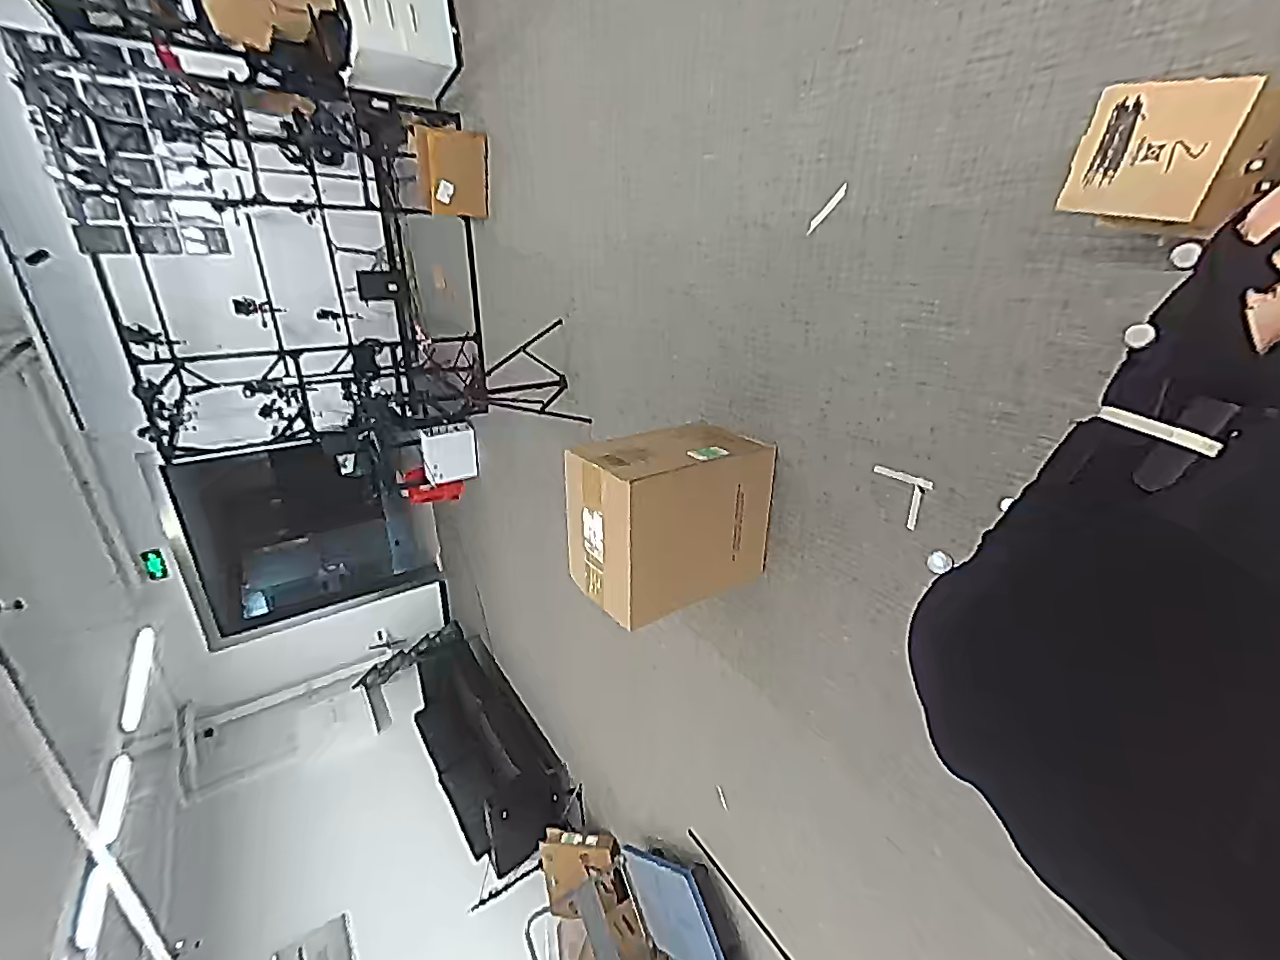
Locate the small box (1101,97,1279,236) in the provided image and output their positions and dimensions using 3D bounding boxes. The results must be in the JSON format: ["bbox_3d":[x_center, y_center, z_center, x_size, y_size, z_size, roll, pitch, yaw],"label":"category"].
[{"bbox_3d":[0.911,-0.501,0.875,0.168,0.176,0.179,40,135,45],"label":"small box"}]
